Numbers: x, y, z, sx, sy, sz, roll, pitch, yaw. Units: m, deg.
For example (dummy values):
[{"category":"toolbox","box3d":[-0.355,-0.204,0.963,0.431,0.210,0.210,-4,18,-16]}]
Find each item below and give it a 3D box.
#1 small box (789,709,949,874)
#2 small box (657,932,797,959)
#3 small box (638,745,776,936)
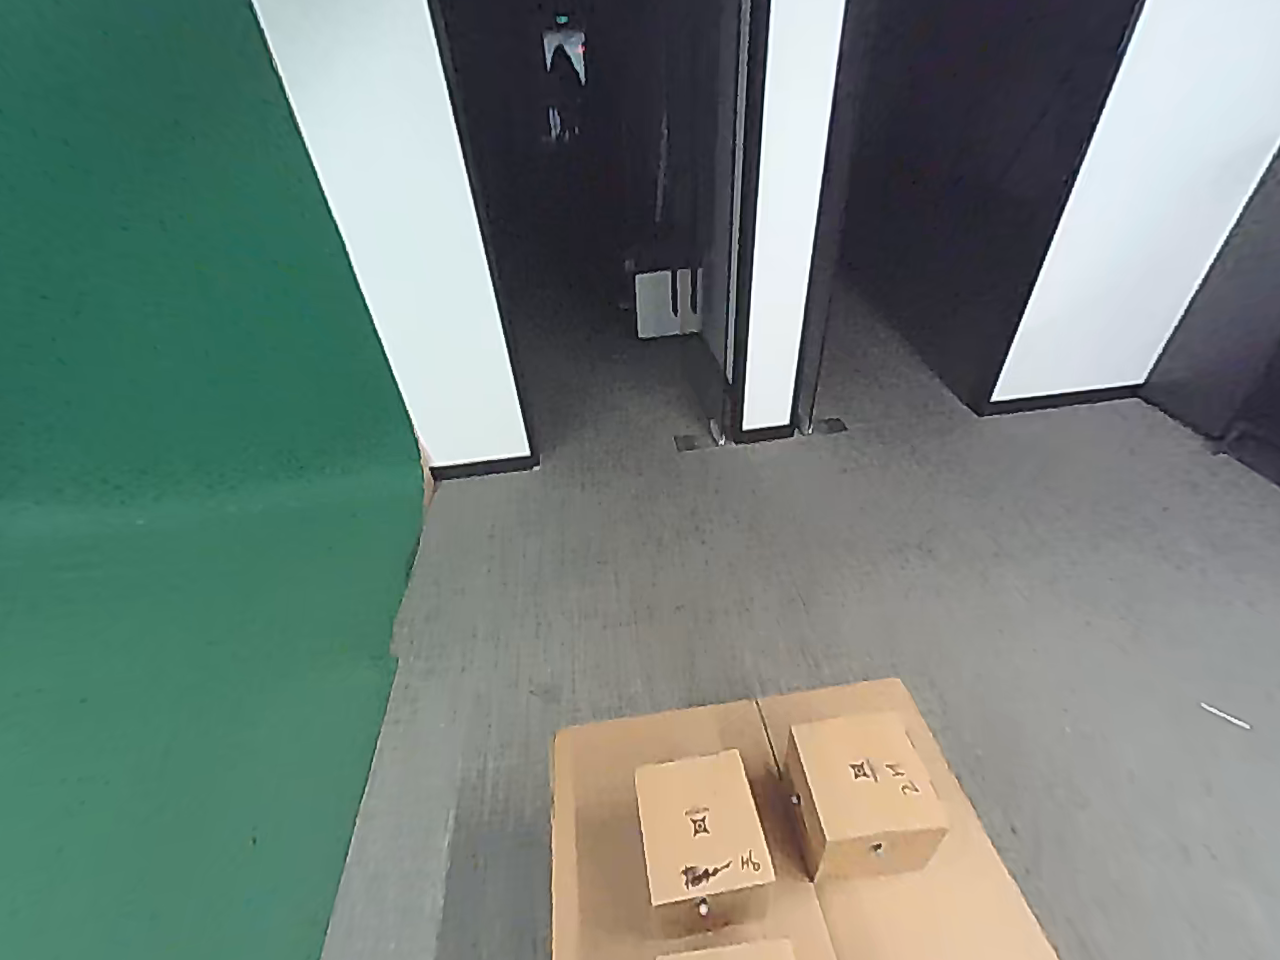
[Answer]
[{"category":"small box","box3d":[0.338,0.485,0.841,0.179,0.176,0.168,-7,38,0]},{"category":"small box","box3d":[0.115,0.669,0.631,0.168,0.176,0.179,-7,37,-2]},{"category":"small box","box3d":[0.092,0.533,0.805,0.168,0.176,0.179,-9,37,-3]}]
